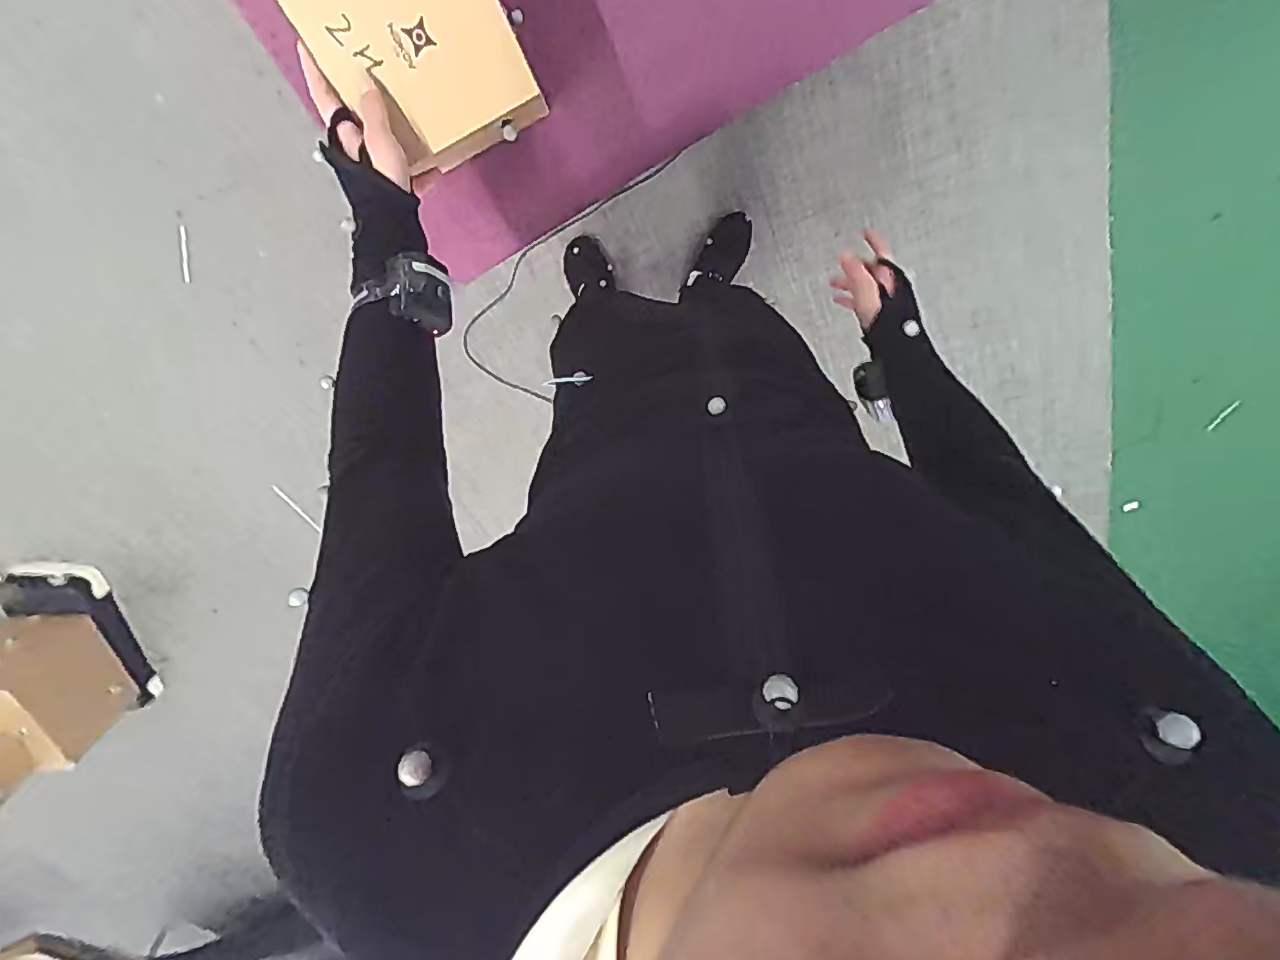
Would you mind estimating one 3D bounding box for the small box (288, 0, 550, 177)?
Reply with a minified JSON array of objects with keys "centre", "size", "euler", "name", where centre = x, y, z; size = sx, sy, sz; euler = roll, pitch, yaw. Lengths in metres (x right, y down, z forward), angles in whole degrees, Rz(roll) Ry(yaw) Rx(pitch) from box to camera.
[{"centre":[-0.205,-0.435,0.552],"size":[0.179,0.176,0.168],"euler":[-23,119,8],"name":"small box"}]
